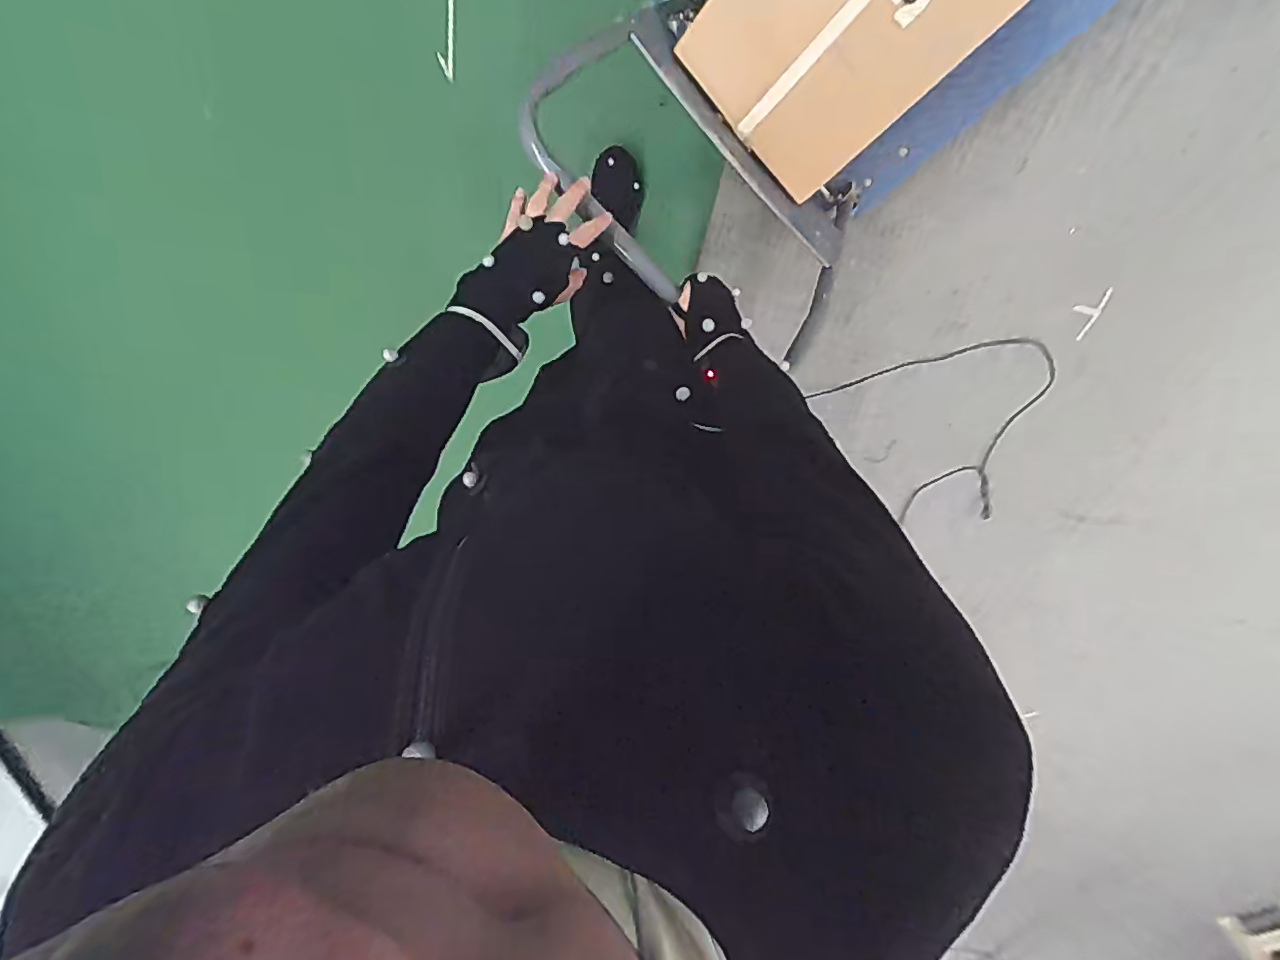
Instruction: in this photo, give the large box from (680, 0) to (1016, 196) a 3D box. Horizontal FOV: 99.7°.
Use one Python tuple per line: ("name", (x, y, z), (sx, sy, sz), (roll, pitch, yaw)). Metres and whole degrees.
("large box", (0.333, -0.755, 0.855), (0.320, 0.320, 0.408), (41, 134, -17))
